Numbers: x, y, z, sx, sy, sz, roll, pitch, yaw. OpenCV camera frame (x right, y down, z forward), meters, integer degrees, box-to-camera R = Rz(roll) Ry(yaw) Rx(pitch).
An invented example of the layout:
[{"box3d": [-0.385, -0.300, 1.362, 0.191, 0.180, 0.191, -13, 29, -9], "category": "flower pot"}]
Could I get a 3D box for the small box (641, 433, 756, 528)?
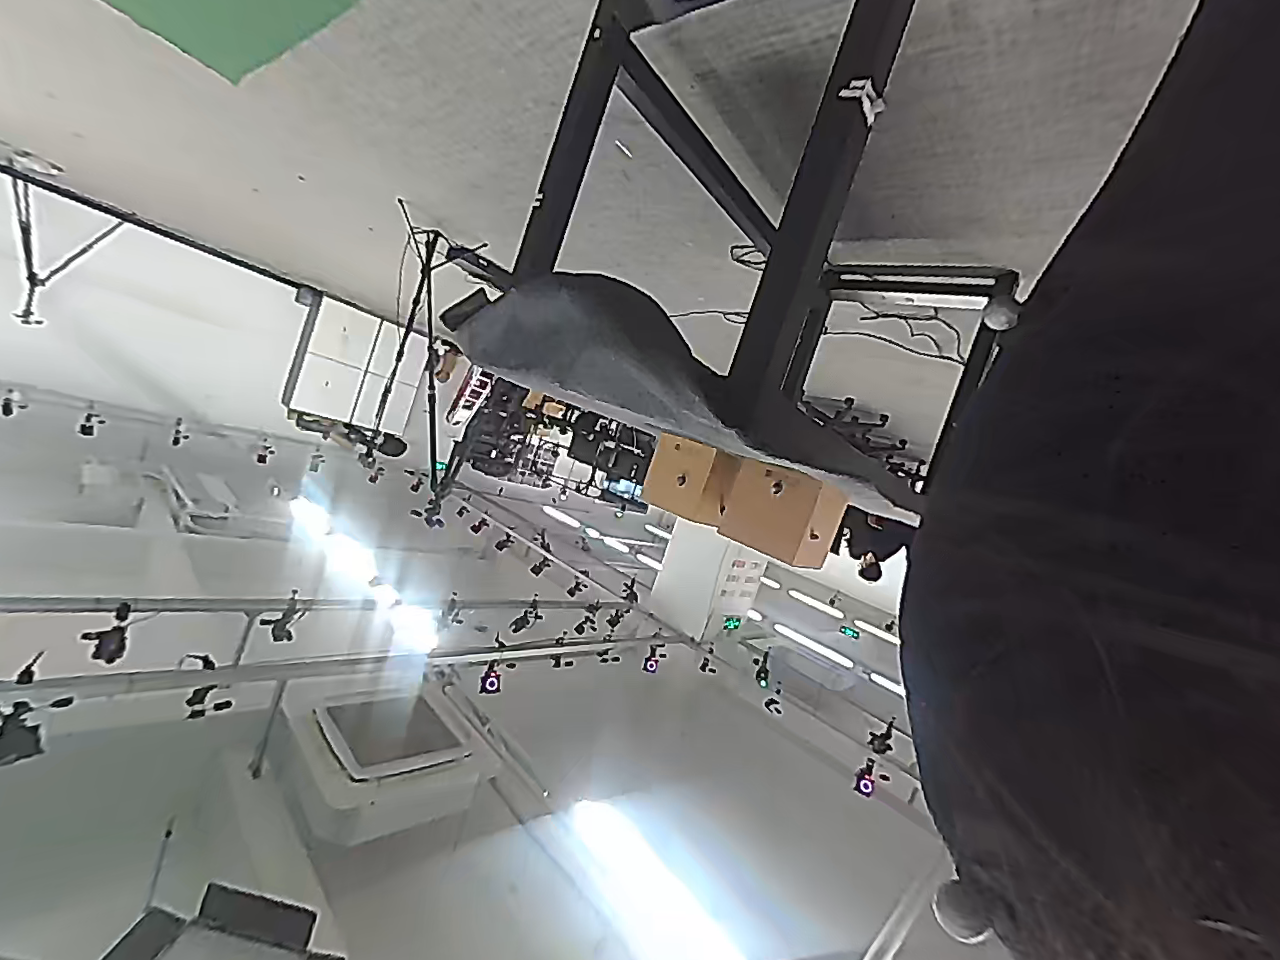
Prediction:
[{"box3d": [0.135, -0.001, 1.226, 0.168, 0.176, 0.179, 20, -176, 43], "category": "small box"}]
